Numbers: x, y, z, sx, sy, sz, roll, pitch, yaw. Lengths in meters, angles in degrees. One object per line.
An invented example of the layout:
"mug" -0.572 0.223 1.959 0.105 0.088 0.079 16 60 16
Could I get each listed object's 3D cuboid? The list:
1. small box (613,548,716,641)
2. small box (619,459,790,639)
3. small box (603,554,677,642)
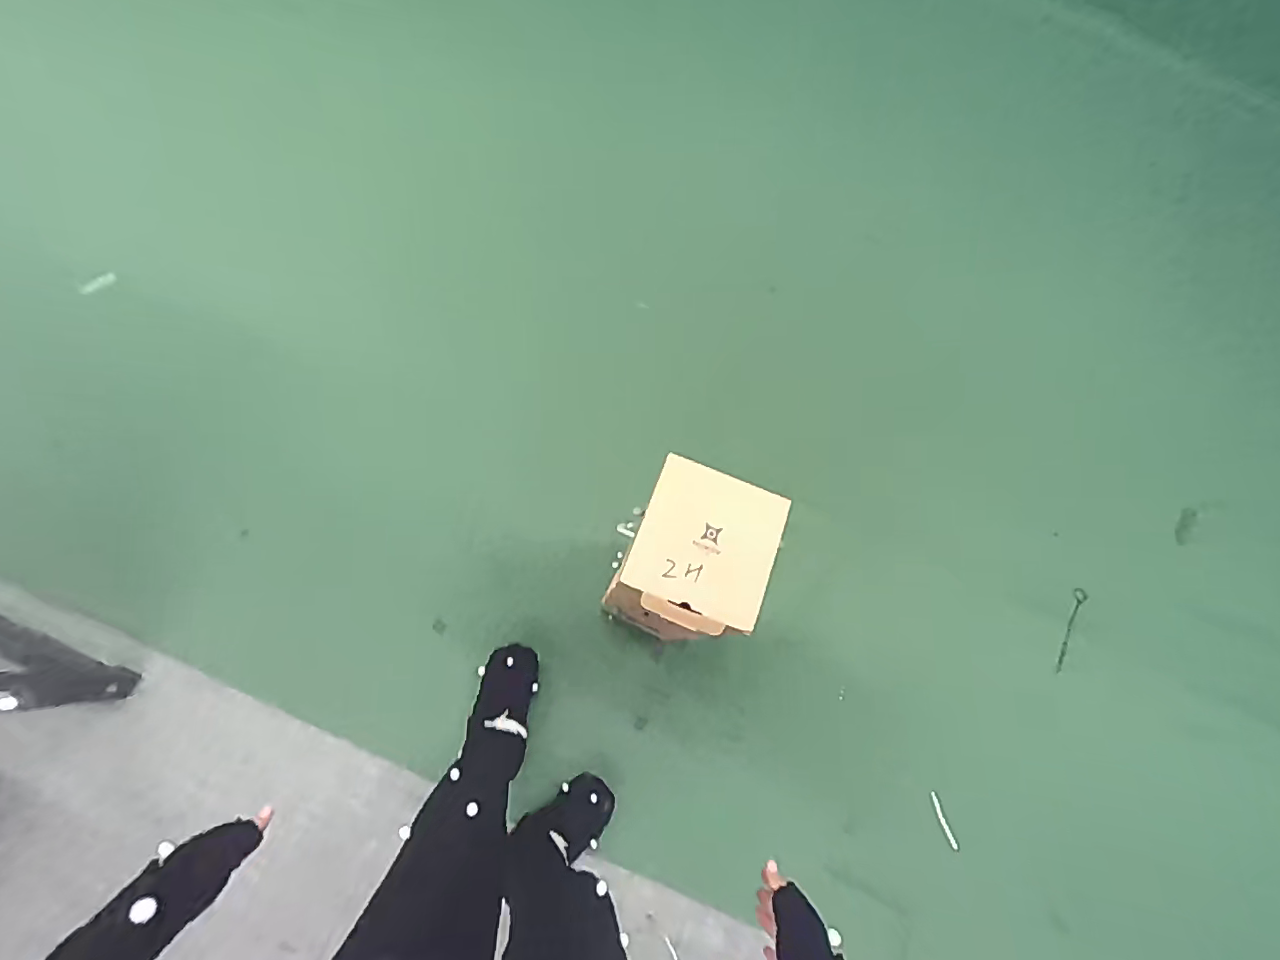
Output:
"small box" 0.061 0.148 0.885 0.168 0.176 0.179 23 72 2
"small box" 0.075 0.101 0.728 0.168 0.176 0.179 22 73 2
"small box" 0.028 0.244 1.196 0.168 0.176 0.179 26 72 3
